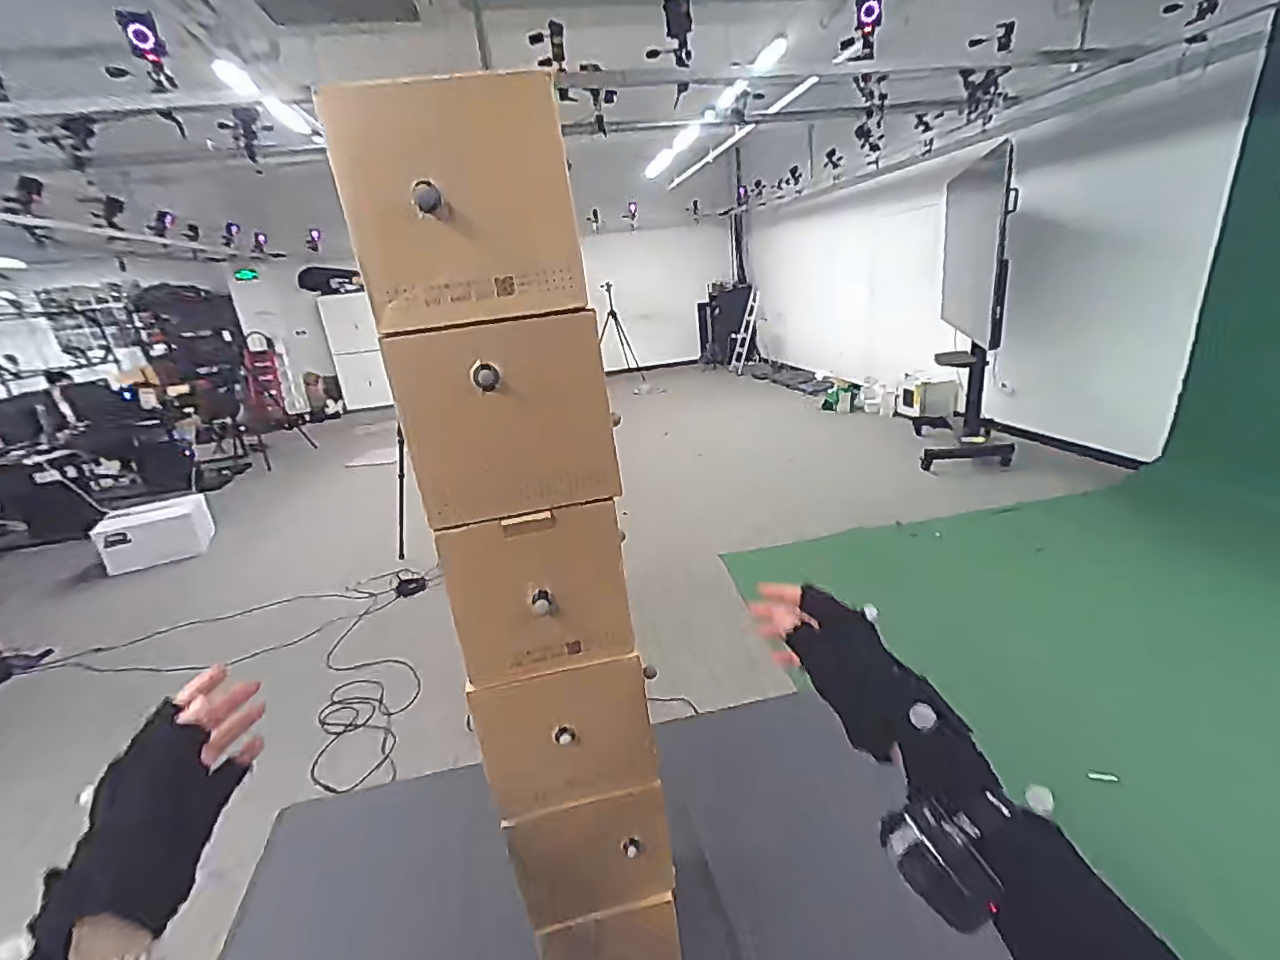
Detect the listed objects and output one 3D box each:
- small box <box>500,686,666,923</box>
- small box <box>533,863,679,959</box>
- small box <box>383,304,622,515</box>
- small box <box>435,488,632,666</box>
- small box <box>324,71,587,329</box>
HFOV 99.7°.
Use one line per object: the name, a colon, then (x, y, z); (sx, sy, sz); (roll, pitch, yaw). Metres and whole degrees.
small box: (-0.069, 0.395, 0.674); (0.179, 0.176, 0.168); (-10, 18, -9)
small box: (-0.047, 0.548, 0.725); (0.168, 0.176, 0.179); (-9, 20, -7)
small box: (-0.123, -0.074, 0.536); (0.179, 0.176, 0.168); (-9, 18, -7)
small box: (-0.108, 0.082, 0.590); (0.168, 0.176, 0.179); (-9, 19, -8)
small box: (-0.143, -0.228, 0.487); (0.168, 0.176, 0.179); (-10, 17, -6)
